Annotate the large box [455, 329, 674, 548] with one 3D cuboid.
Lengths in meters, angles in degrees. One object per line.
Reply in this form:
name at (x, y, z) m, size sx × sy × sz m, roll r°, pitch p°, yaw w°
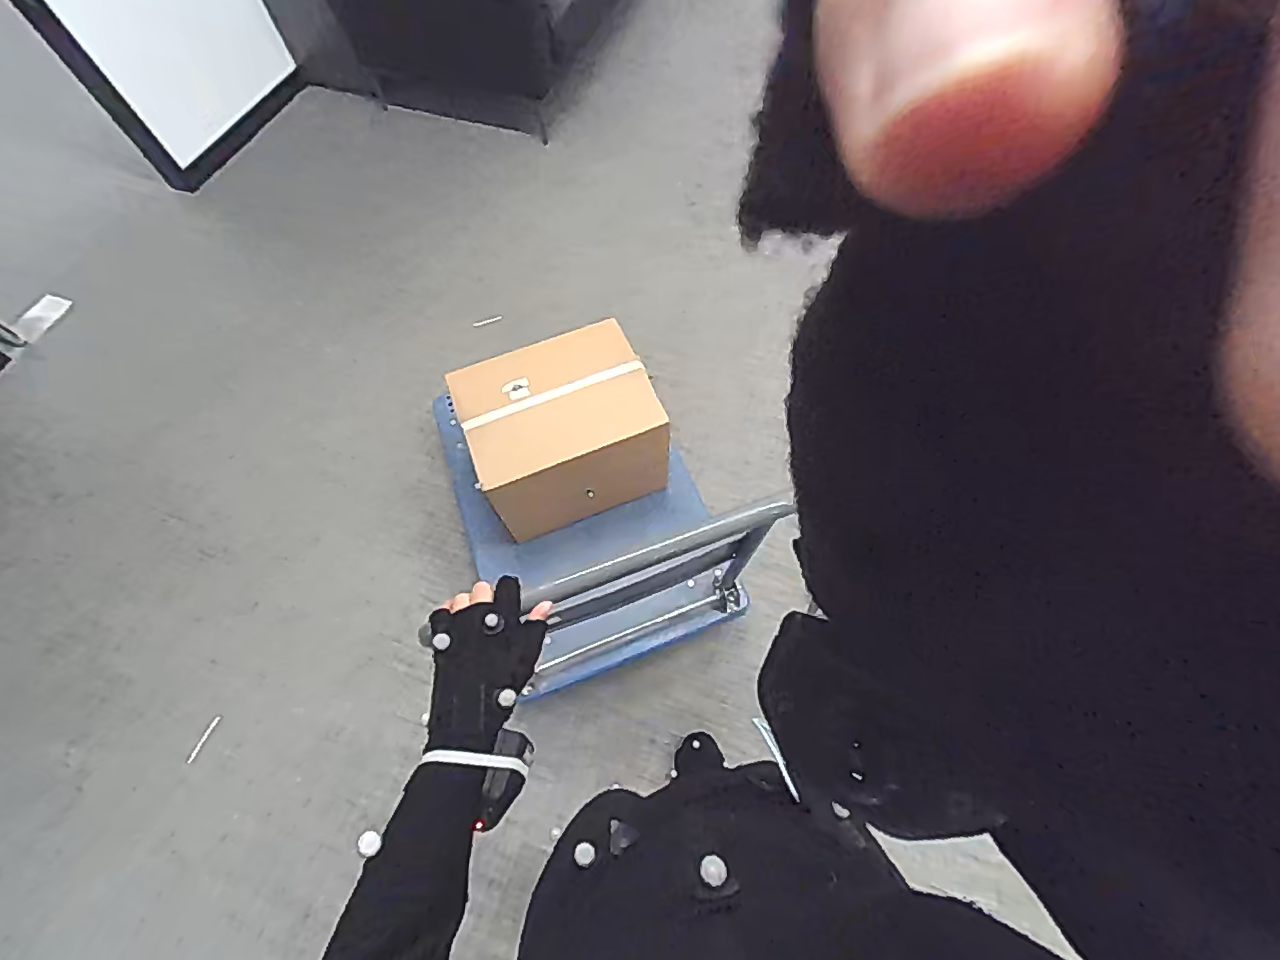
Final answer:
large box at (-0.163, -0.089, 1.290) m, size 0.408 × 0.320 × 0.320 m, roll -22°, pitch 64°, yaw -8°
